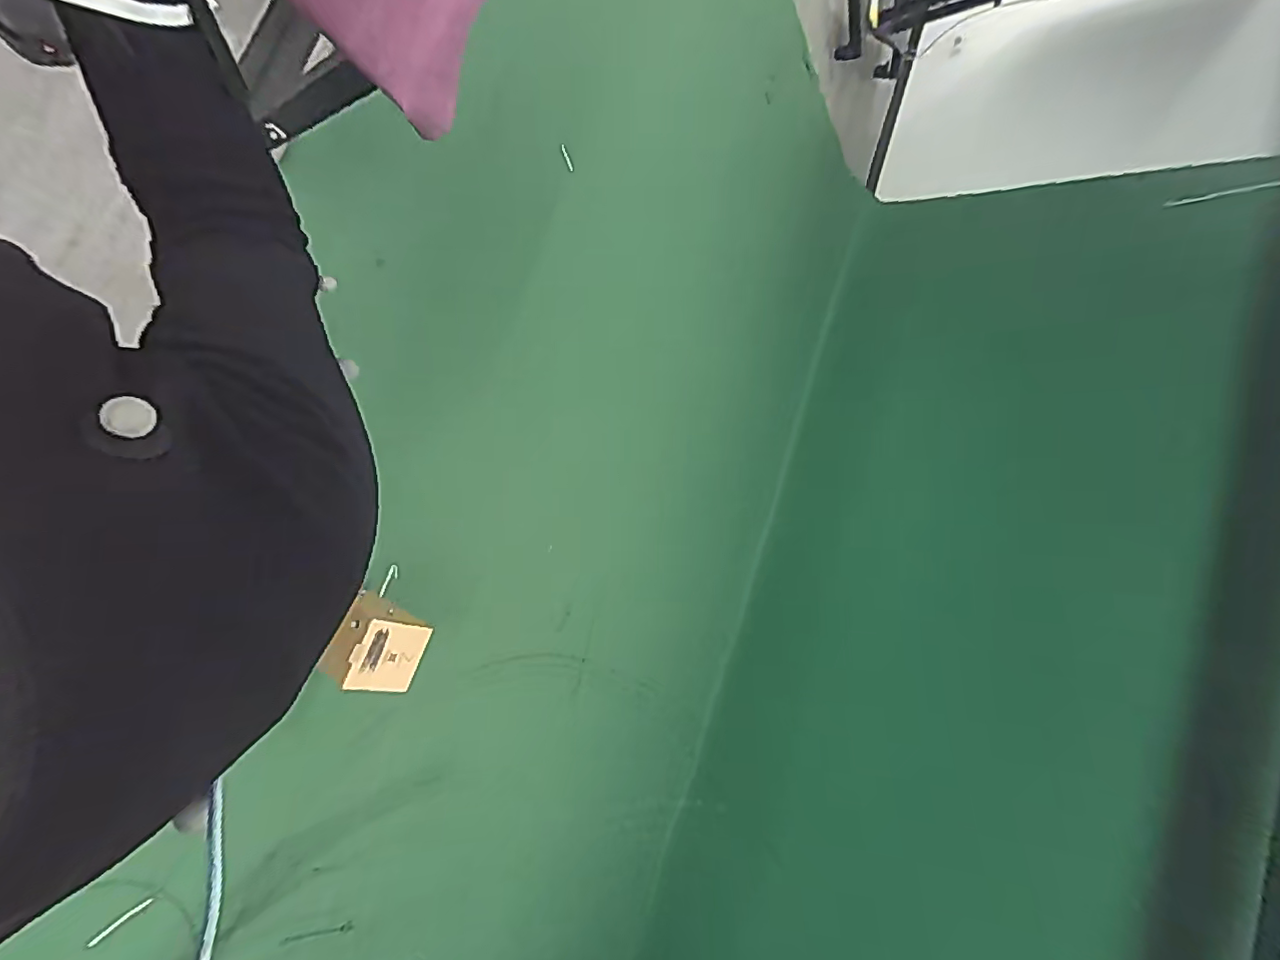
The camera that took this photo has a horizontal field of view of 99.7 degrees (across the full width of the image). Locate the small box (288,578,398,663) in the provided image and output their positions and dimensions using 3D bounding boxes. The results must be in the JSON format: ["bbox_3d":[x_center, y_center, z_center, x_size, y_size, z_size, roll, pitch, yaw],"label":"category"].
[{"bbox_3d":[-0.795,0.373,1.445,0.179,0.176,0.168,34,74,-51],"label":"small box"}]
